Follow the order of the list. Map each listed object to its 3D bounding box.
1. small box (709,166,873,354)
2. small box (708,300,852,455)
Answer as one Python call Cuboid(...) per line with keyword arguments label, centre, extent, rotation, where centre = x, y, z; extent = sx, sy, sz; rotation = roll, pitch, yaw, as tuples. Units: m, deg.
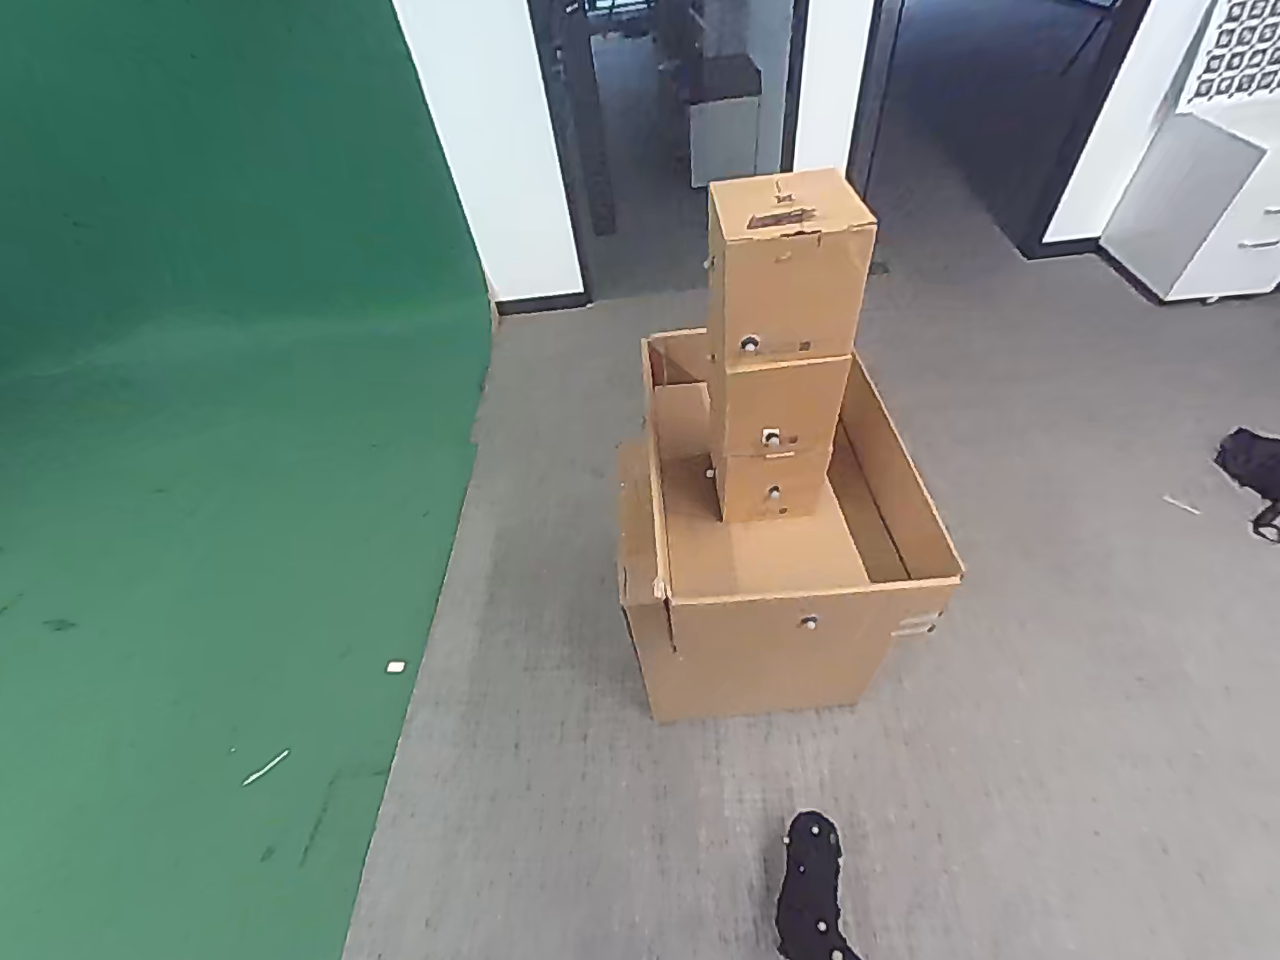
Cuboid(label="small box", centre=(0.181, -0.278, 0.701), extent=(0.168, 0.176, 0.179), rotation=(-5, 47, 4))
Cuboid(label="small box", centre=(0.196, -0.162, 0.818), extent=(0.168, 0.176, 0.179), rotation=(-8, 49, 1))
